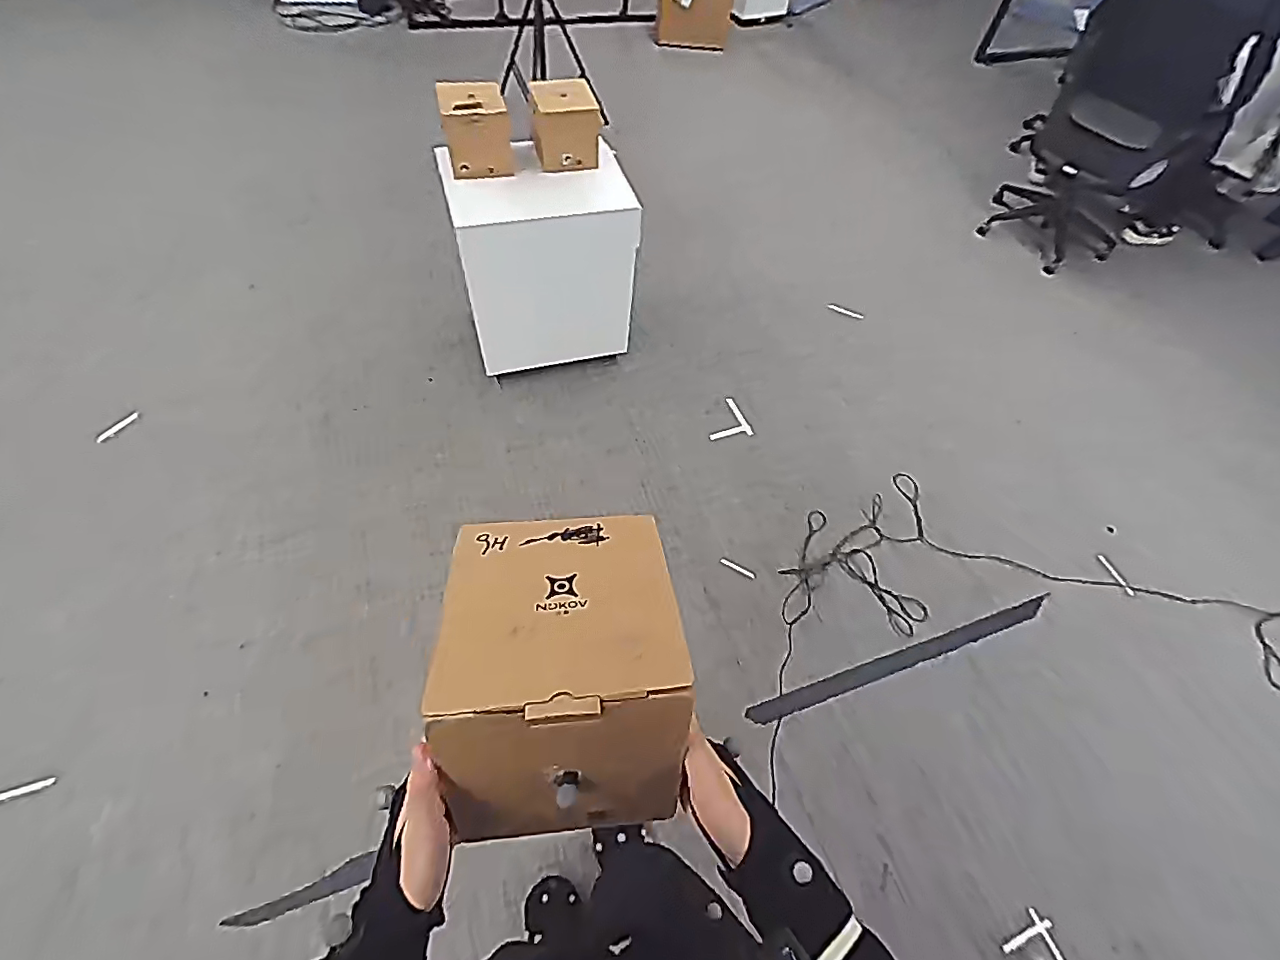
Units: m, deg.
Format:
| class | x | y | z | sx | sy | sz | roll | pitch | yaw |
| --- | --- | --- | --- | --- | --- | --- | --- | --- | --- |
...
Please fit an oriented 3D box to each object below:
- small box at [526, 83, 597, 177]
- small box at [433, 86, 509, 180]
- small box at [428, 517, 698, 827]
| class | x | y | z | sx | sy | sz | roll | pitch | yaw |
| --- | --- | --- | --- | --- | --- | --- | --- | --- | --- |
| small box | -0.226 | -1.006 | 1.556 | 0.168 | 0.176 | 0.179 | -14 | 62 | -13 |
| small box | -0.463 | -0.954 | 1.495 | 0.168 | 0.176 | 0.179 | -12 | 60 | -14 |
| small box | -0.056 | 0.152 | 0.435 | 0.168 | 0.176 | 0.179 | -2 | 36 | -8 |
